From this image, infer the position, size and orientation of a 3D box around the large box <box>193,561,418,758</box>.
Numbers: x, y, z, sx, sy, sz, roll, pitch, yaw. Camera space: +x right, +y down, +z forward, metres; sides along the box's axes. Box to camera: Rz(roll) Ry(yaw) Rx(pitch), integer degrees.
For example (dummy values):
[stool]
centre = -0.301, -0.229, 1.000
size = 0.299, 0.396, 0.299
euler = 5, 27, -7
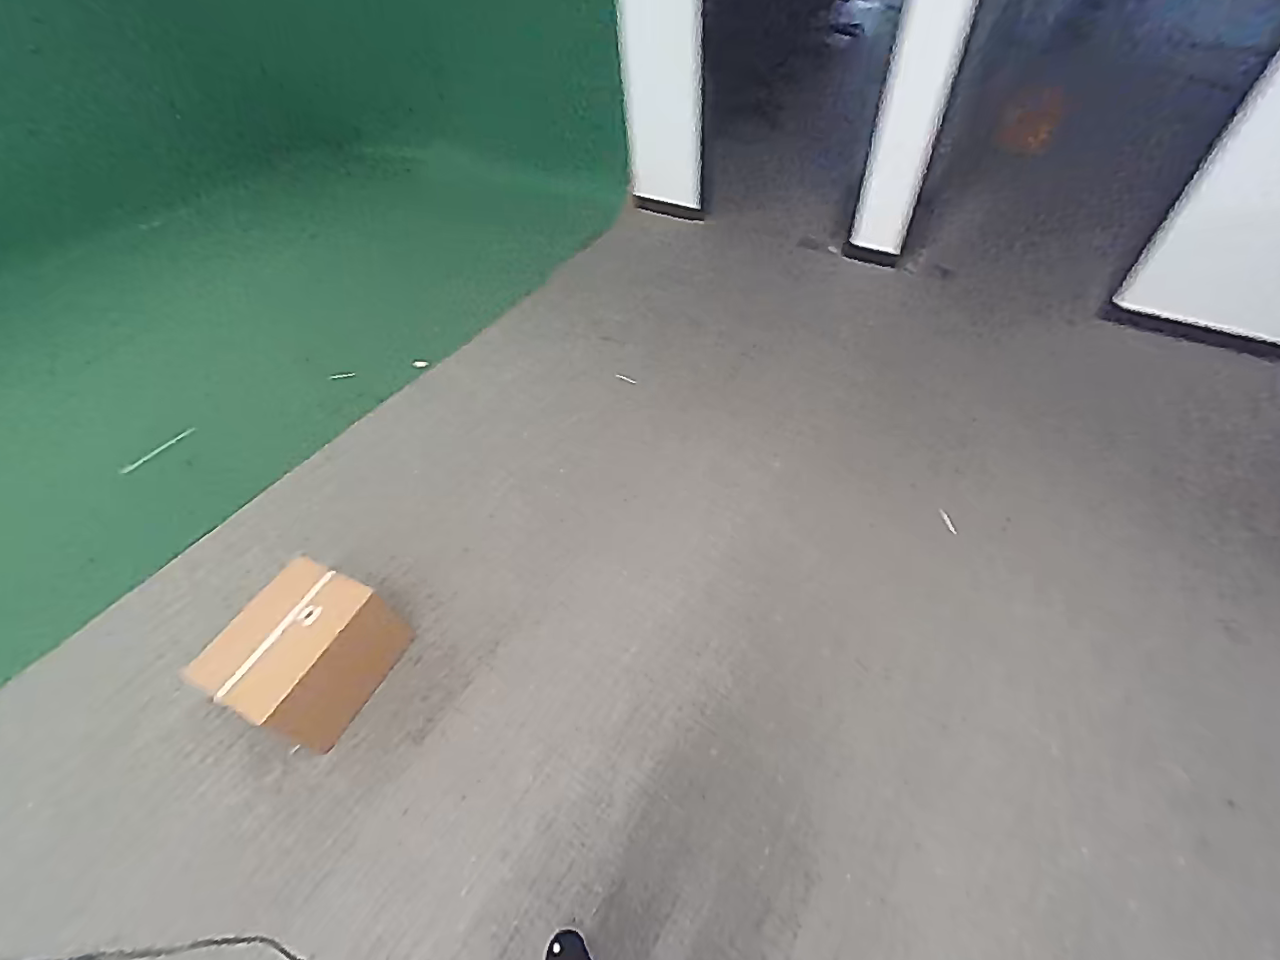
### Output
[large box]
centre = -0.951, 0.523, 1.593
size = 0.320, 0.320, 0.408
euler = 18, 53, 19
